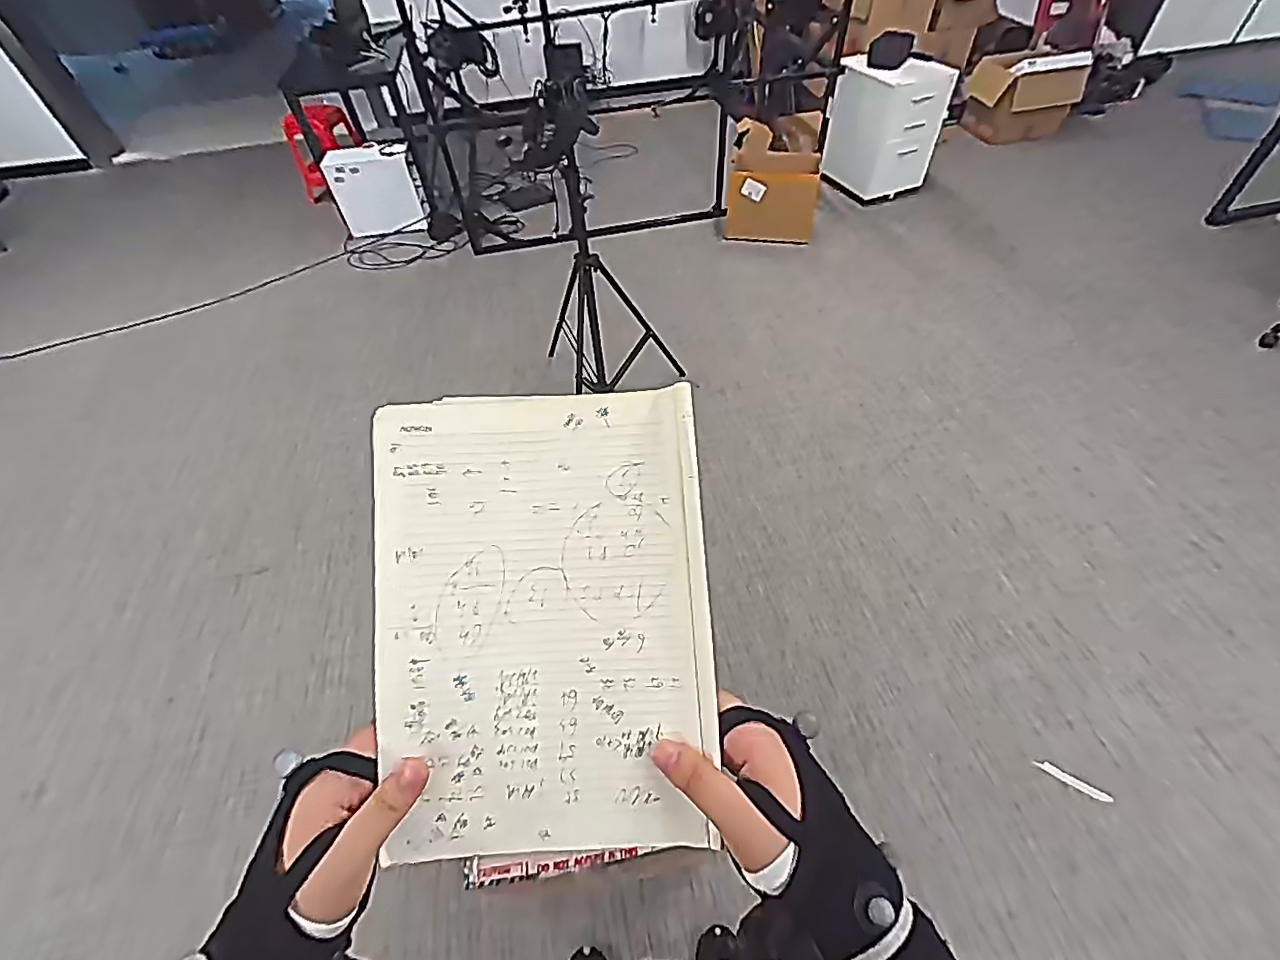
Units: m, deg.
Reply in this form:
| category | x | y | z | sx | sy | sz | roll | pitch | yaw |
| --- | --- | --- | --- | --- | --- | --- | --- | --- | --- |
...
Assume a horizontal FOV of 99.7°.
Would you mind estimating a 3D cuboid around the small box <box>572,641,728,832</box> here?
| category | x | y | z | sx | sy | sz | roll | pitch | yaw |
| --- | --- | --- | --- | --- | --- | --- | --- | --- | --- |
| small box | 0.005 | 0.337 | 0.709 | 0.168 | 0.176 | 0.179 | -8 | 52 | -6 |

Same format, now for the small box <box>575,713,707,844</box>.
| category | x | y | z | sx | sy | sz | roll | pitch | yaw |
| --- | --- | --- | --- | --- | --- | --- | --- | --- | --- |
| small box | 0.004 | 0.441 | 0.837 | 0.179 | 0.176 | 0.168 | -12 | 52 | -7 |
